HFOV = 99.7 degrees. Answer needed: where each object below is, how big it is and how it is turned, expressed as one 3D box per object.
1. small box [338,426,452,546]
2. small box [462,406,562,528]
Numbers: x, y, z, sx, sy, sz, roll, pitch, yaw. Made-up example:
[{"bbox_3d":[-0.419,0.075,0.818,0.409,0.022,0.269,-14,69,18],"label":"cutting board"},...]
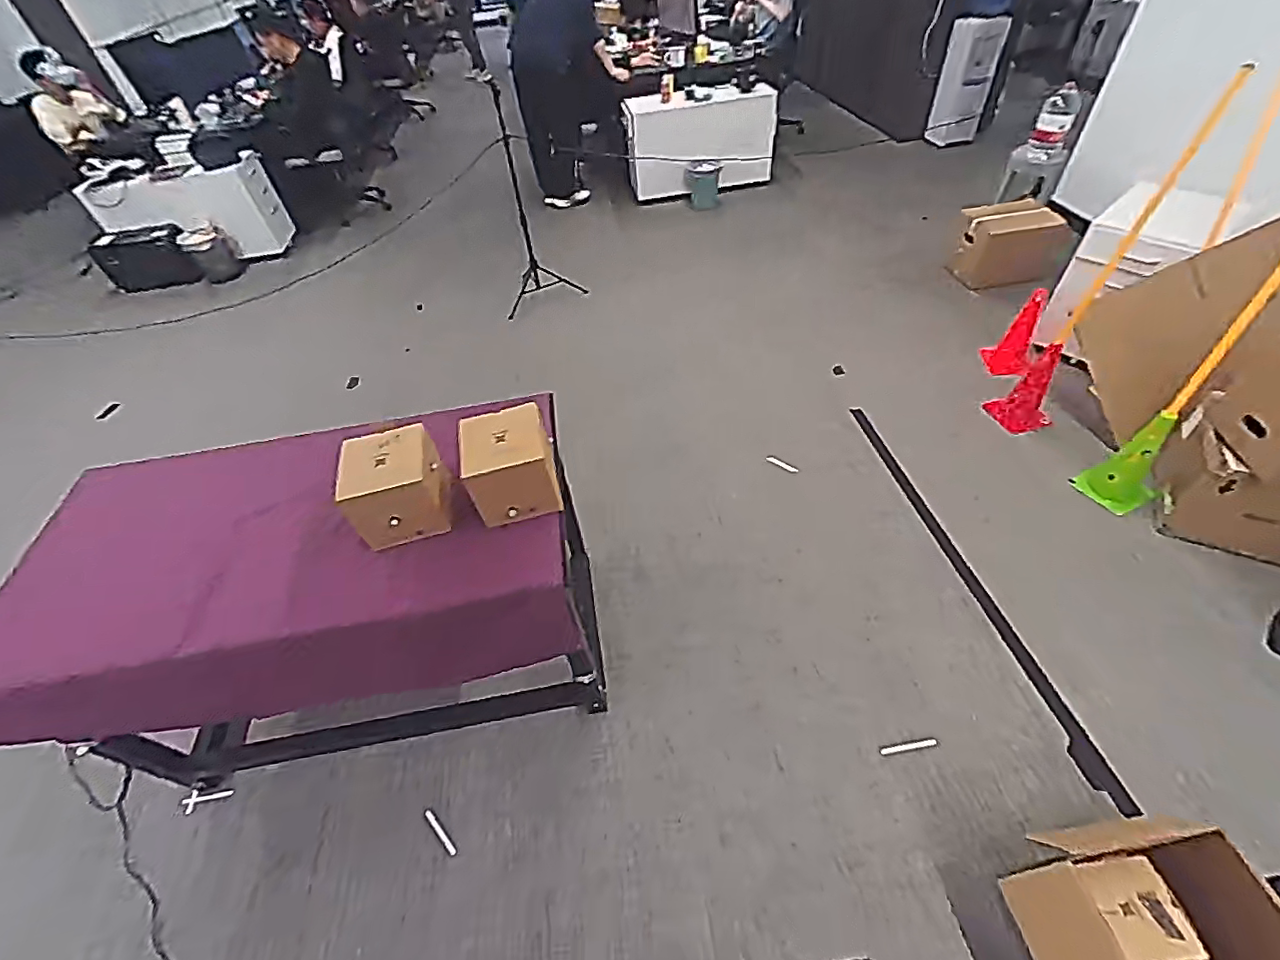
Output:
[{"bbox_3d":[-0.505,0.020,1.139,0.168,0.176,0.179,-15,48,-7],"label":"small box"},{"bbox_3d":[-0.270,-0.026,1.153,0.168,0.176,0.179,-15,47,-4],"label":"small box"}]
